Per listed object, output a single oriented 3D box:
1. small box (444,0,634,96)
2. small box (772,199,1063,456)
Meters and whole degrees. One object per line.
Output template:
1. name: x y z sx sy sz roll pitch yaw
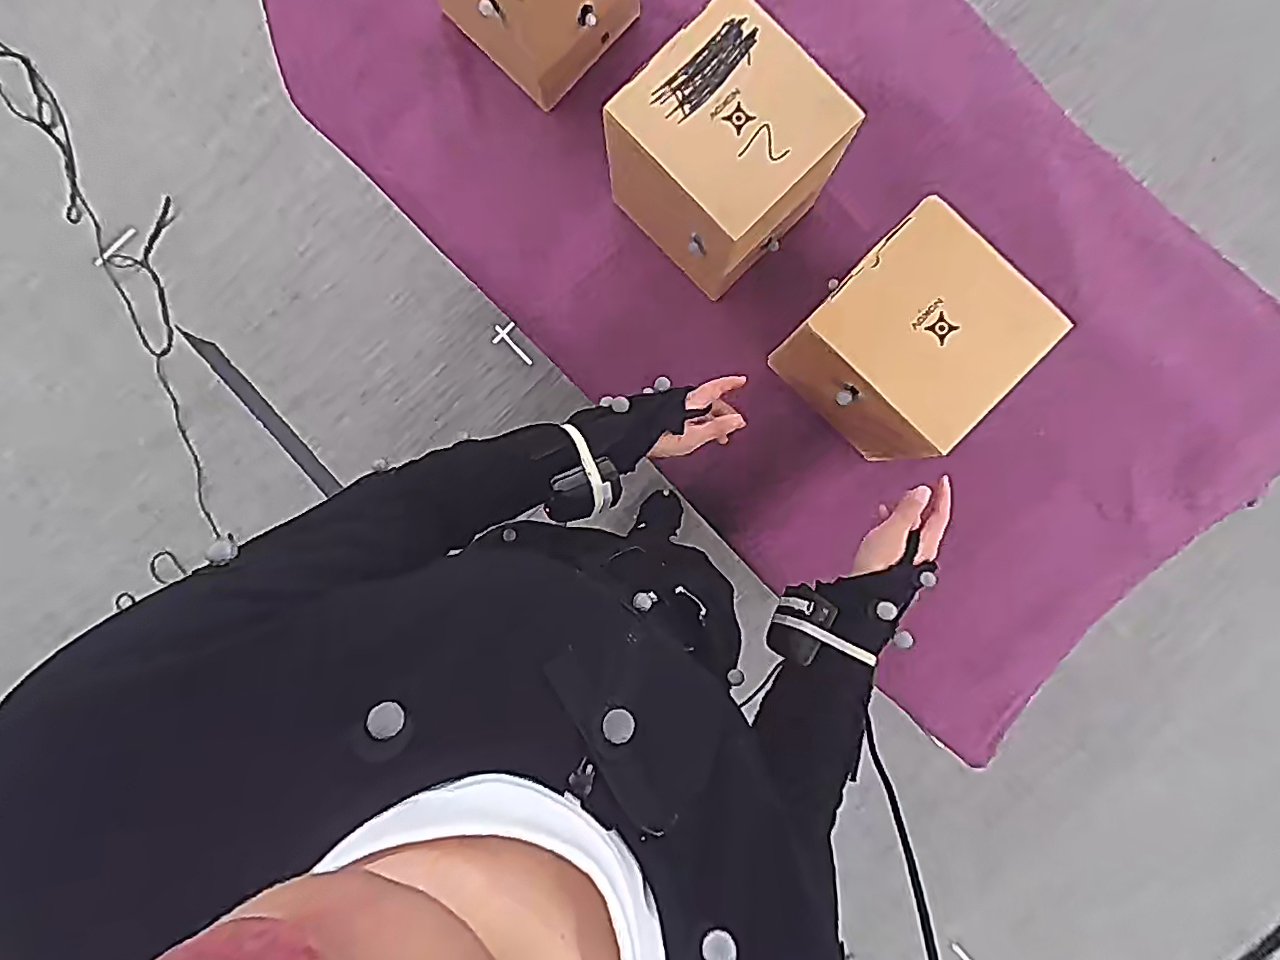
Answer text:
1. small box: -0.116 -0.560 0.574 0.179 0.176 0.168 44 90 -1
2. small box: 0.268 -0.140 0.570 0.179 0.176 0.168 44 91 2
